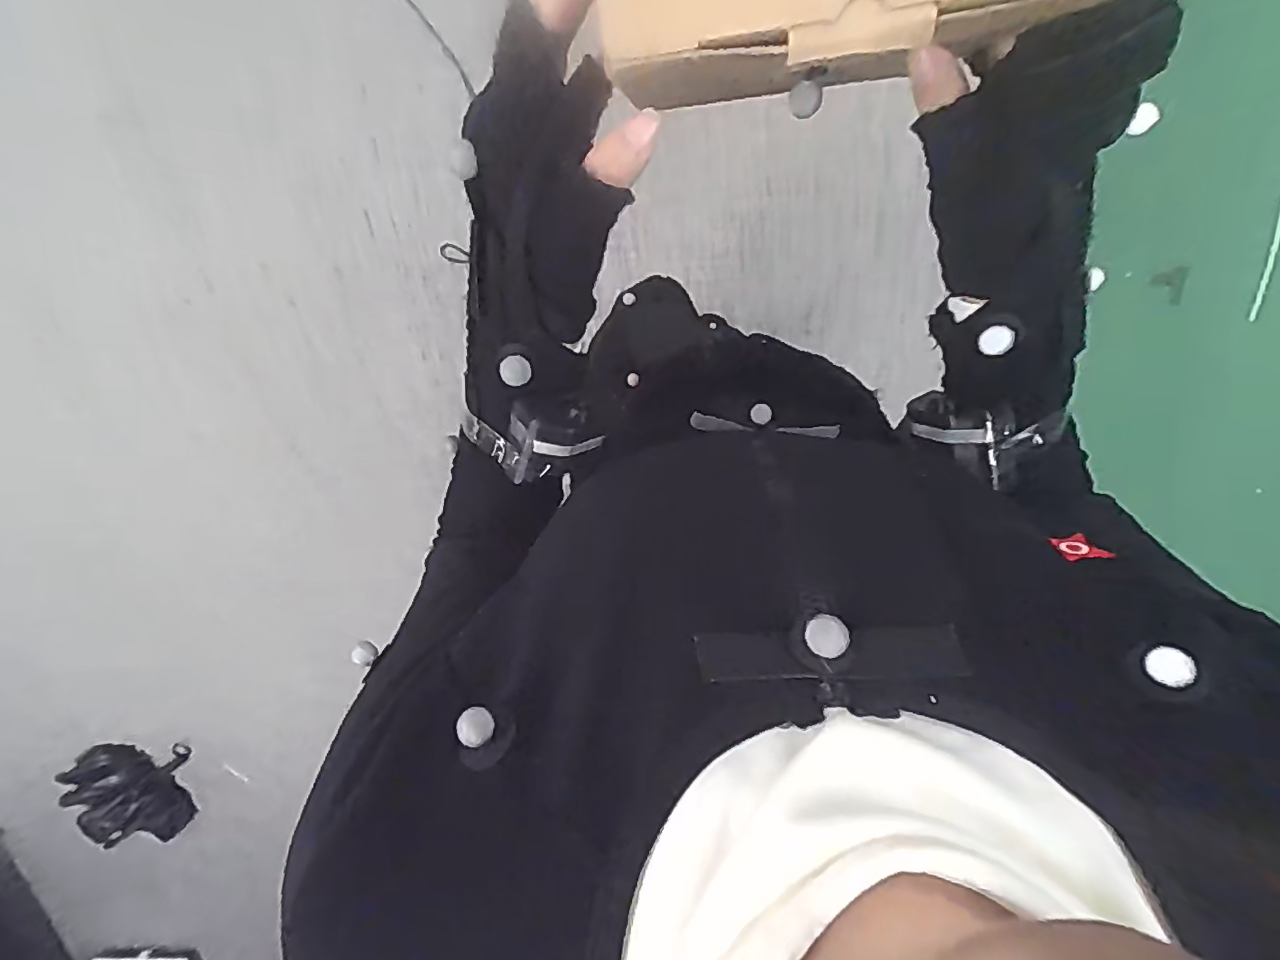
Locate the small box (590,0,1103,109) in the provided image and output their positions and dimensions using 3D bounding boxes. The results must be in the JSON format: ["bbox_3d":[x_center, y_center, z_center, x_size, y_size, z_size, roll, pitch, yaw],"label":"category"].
[{"bbox_3d":[0.064,-0.256,0.205,0.168,0.176,0.179,-4,120,8],"label":"small box"}]
